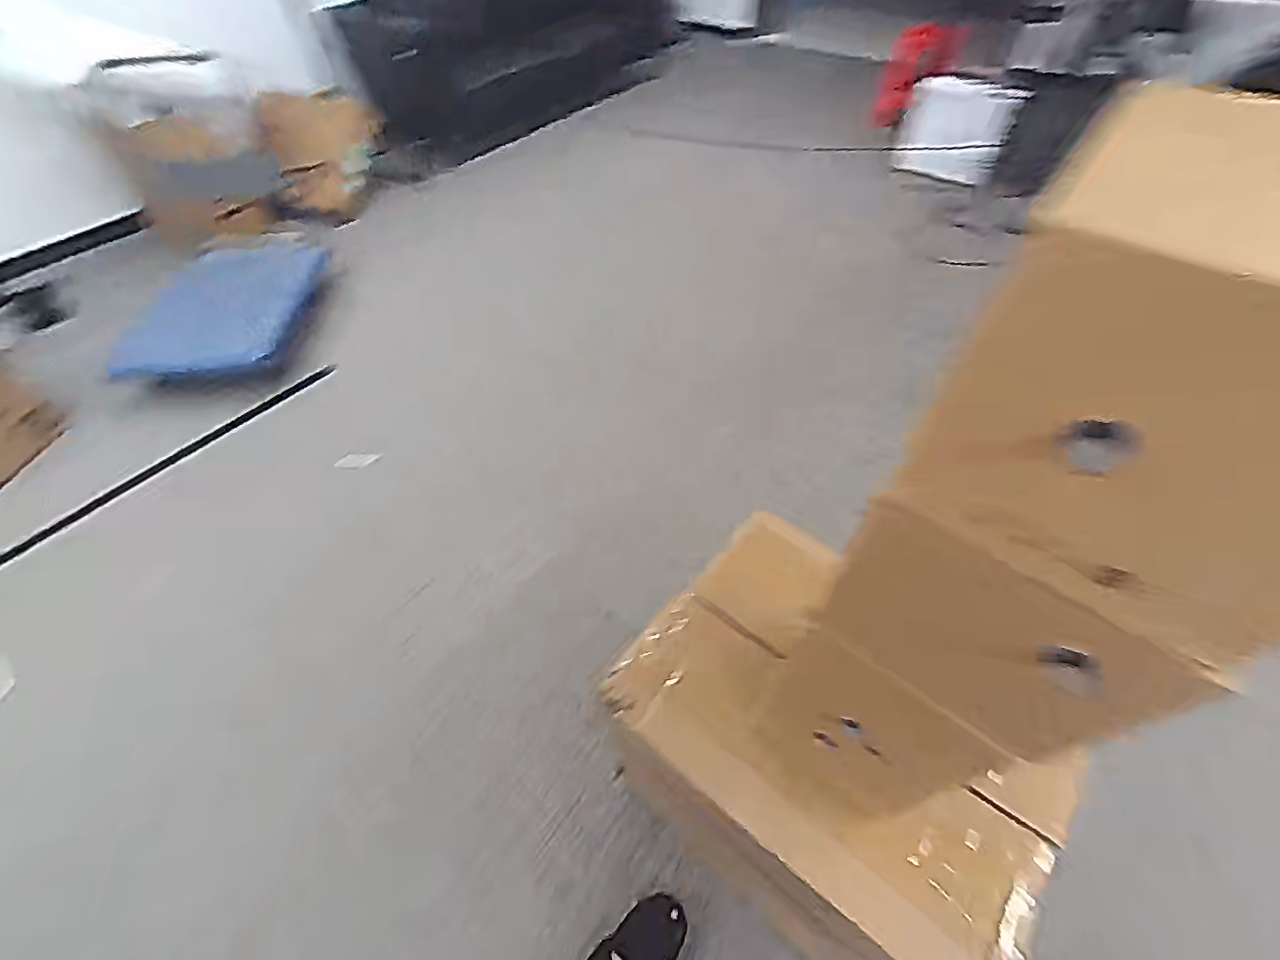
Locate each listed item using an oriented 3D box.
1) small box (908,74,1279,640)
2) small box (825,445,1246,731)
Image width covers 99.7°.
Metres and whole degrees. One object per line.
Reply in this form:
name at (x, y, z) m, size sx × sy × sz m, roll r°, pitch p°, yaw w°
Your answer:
small box at (0.256, -0.058, 0.257) m, size 0.168 × 0.176 × 0.179 m, roll 32°, pitch 59°, yaw 25°
small box at (0.261, 0.048, 0.380) m, size 0.179 × 0.176 × 0.168 m, roll 33°, pitch 60°, yaw 25°
